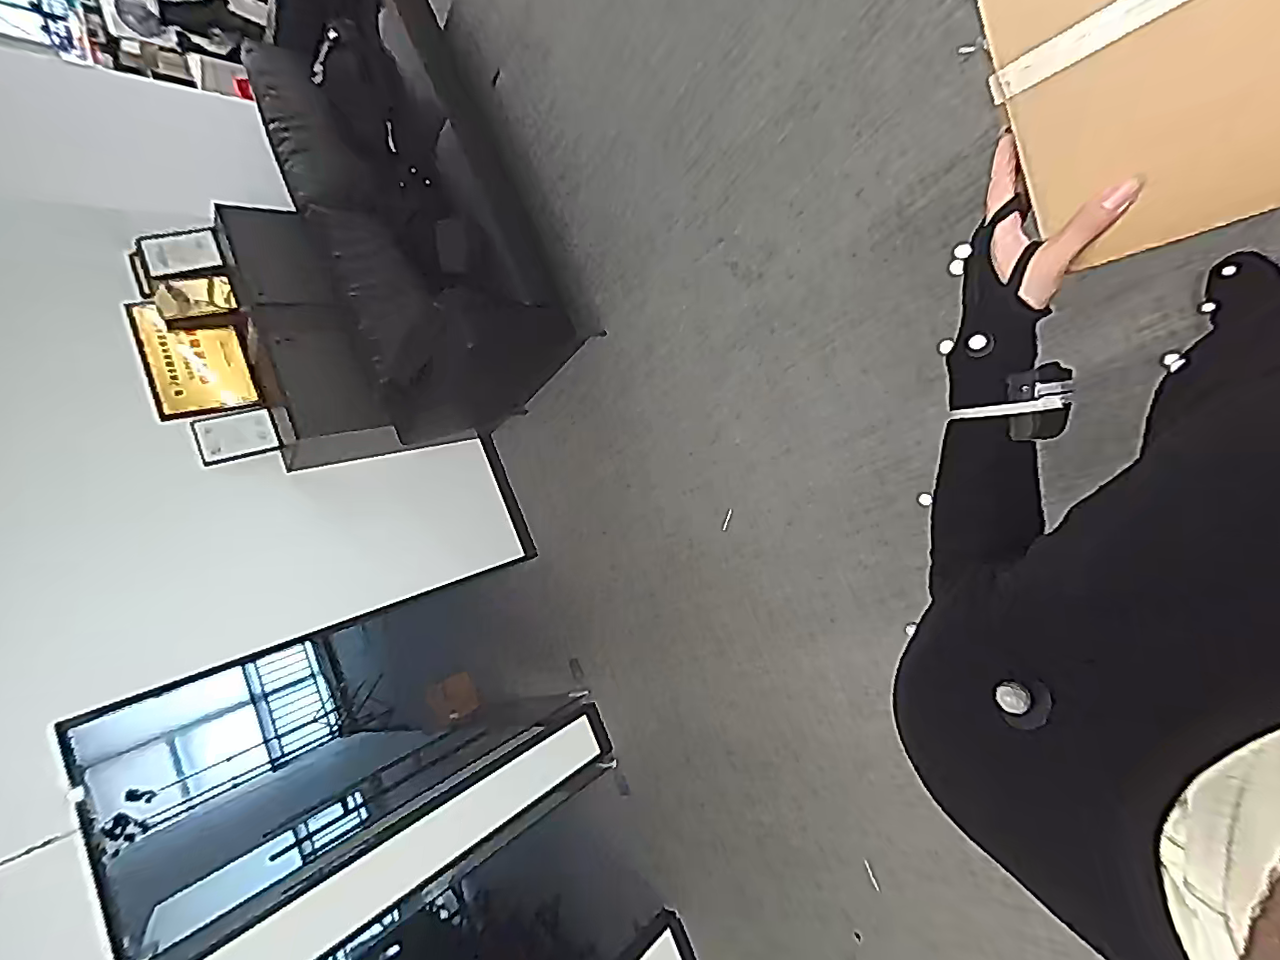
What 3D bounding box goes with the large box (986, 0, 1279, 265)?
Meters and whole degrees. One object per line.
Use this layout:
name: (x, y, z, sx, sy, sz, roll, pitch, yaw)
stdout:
large box: (0.505, -0.406, 0.366, 0.408, 0.320, 0.320, -12, 111, 47)
